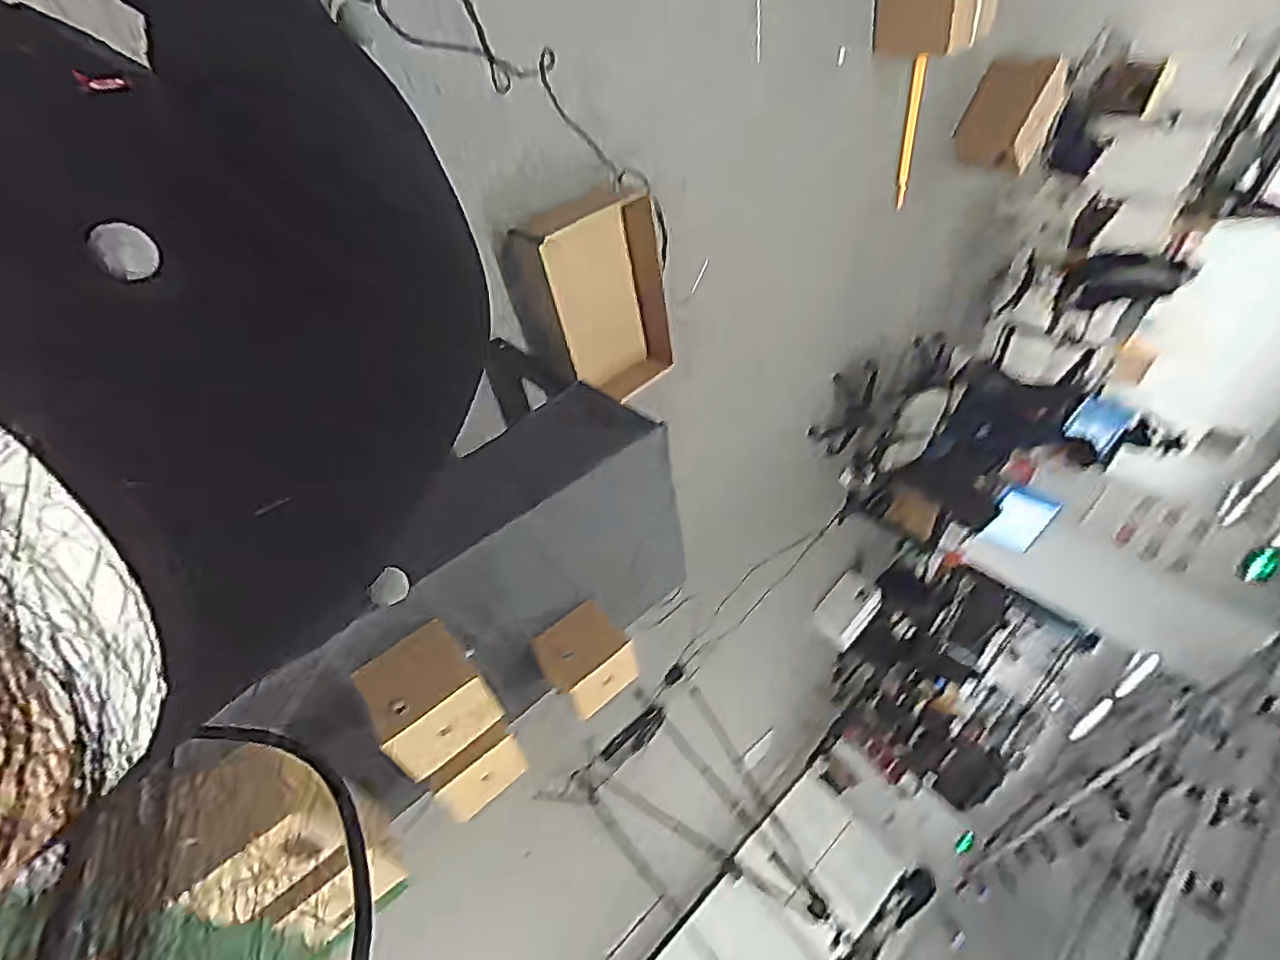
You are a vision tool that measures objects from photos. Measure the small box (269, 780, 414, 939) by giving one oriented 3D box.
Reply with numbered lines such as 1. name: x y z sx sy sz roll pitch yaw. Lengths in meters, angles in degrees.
1. small box: -0.574 0.725 1.046 0.168 0.176 0.179 -33 137 -26

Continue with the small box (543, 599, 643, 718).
1. small box: -0.117 0.427 1.312 0.179 0.176 0.168 -33 137 -25

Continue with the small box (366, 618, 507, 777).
1. small box: -0.382 0.398 1.006 0.179 0.176 0.168 -35 139 -25

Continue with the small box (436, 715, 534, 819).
1. small box: -0.359 0.578 1.172 0.168 0.176 0.179 -33 138 -26
